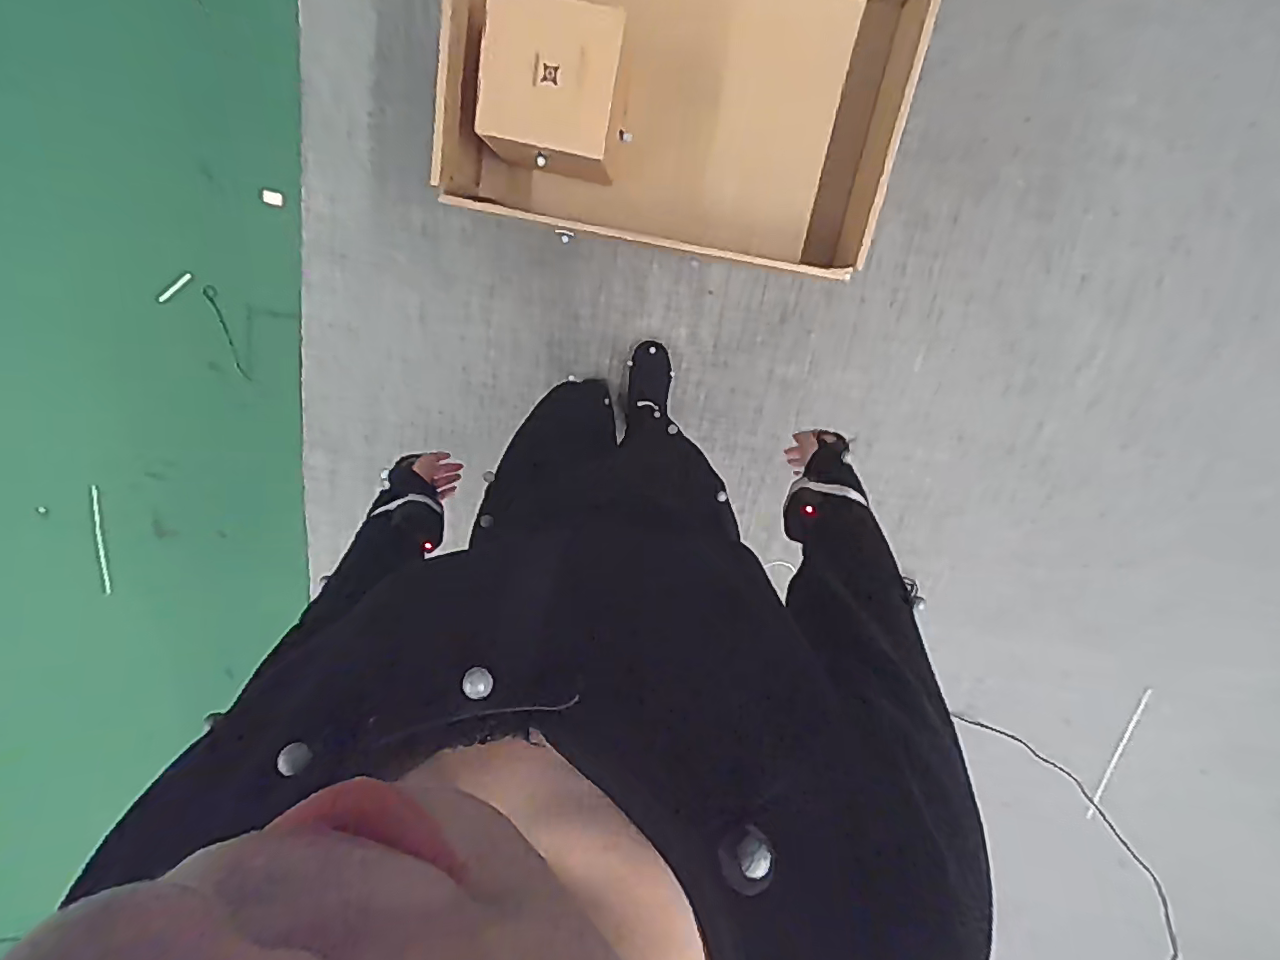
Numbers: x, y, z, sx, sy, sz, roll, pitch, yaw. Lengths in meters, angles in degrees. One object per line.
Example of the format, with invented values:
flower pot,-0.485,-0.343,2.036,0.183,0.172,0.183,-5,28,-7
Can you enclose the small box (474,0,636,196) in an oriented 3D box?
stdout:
small box,-0.112,-0.522,0.767,0.179,0.176,0.168,13,107,1
